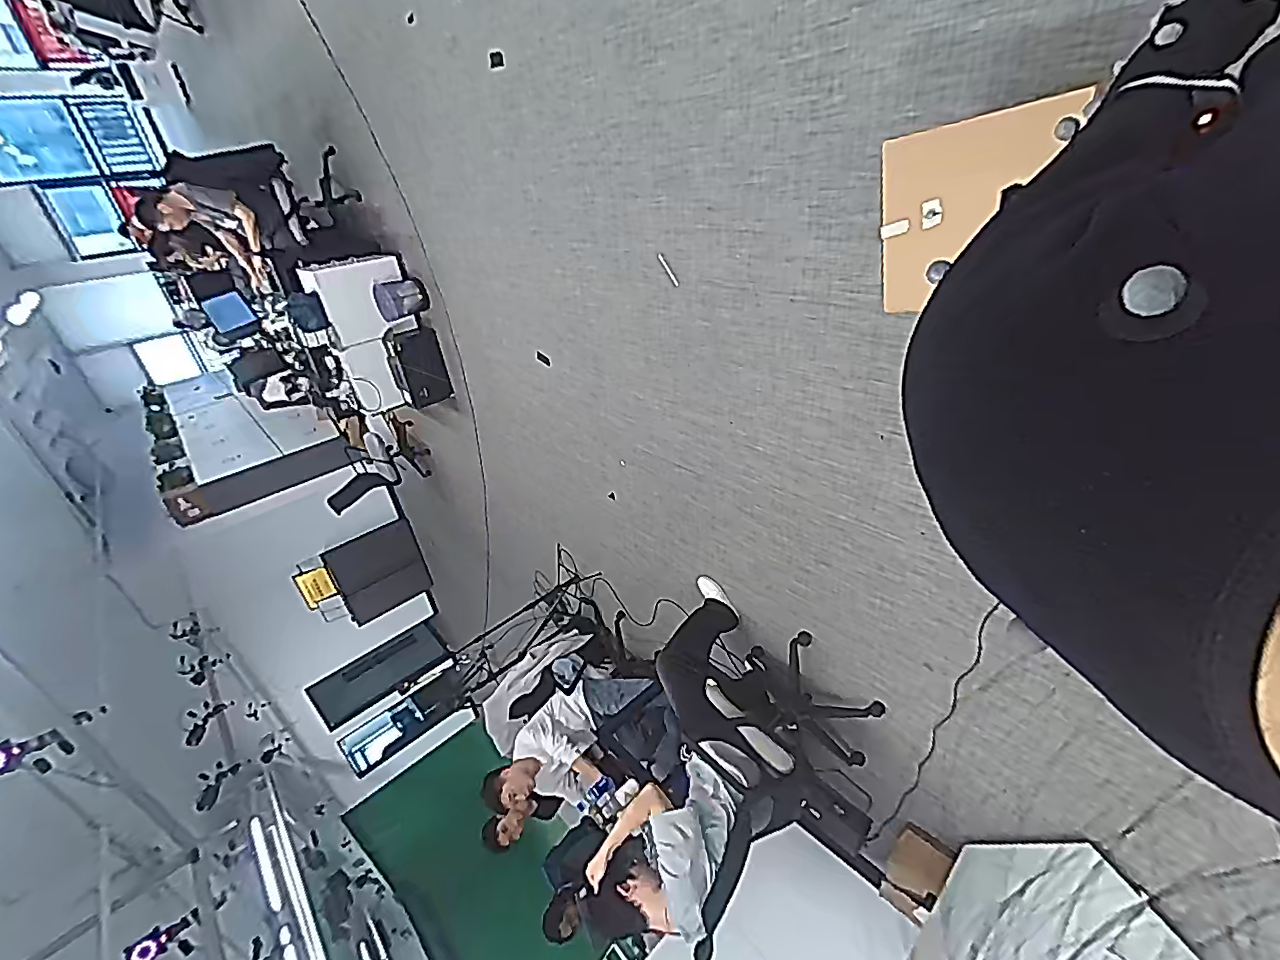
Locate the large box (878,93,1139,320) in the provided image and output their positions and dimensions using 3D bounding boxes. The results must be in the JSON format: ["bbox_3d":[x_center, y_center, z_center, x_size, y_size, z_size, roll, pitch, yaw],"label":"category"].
[{"bbox_3d":[0.711,-0.523,1.061,0.320,0.408,0.320,17,128,45],"label":"large box"}]
